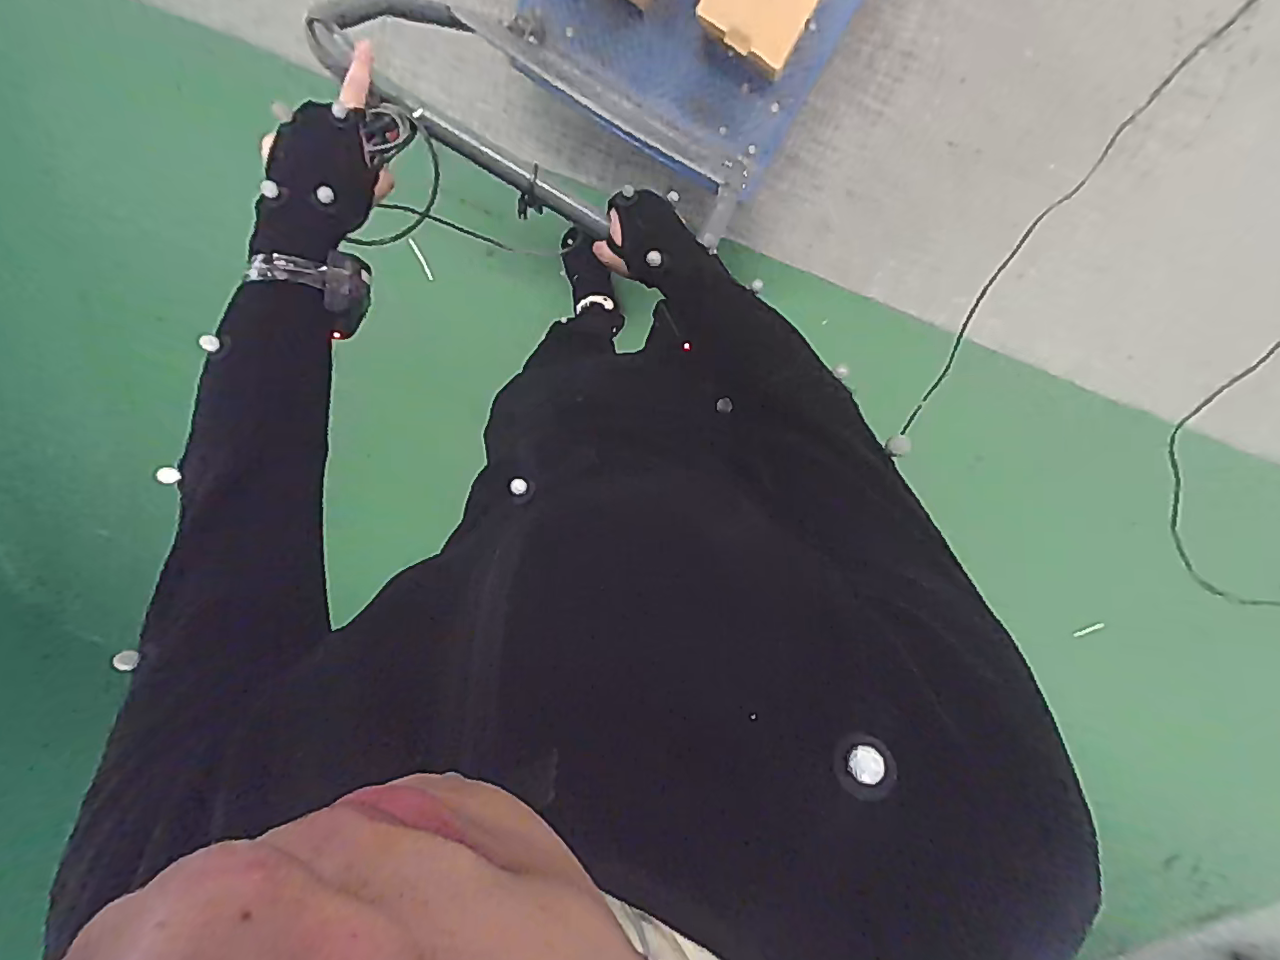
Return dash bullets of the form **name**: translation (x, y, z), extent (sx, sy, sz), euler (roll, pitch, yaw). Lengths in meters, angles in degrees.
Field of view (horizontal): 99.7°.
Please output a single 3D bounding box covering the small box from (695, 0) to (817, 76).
- **small box**: translation (0.210, -0.822, 0.909), extent (0.168, 0.176, 0.179), euler (29, 124, -7)
